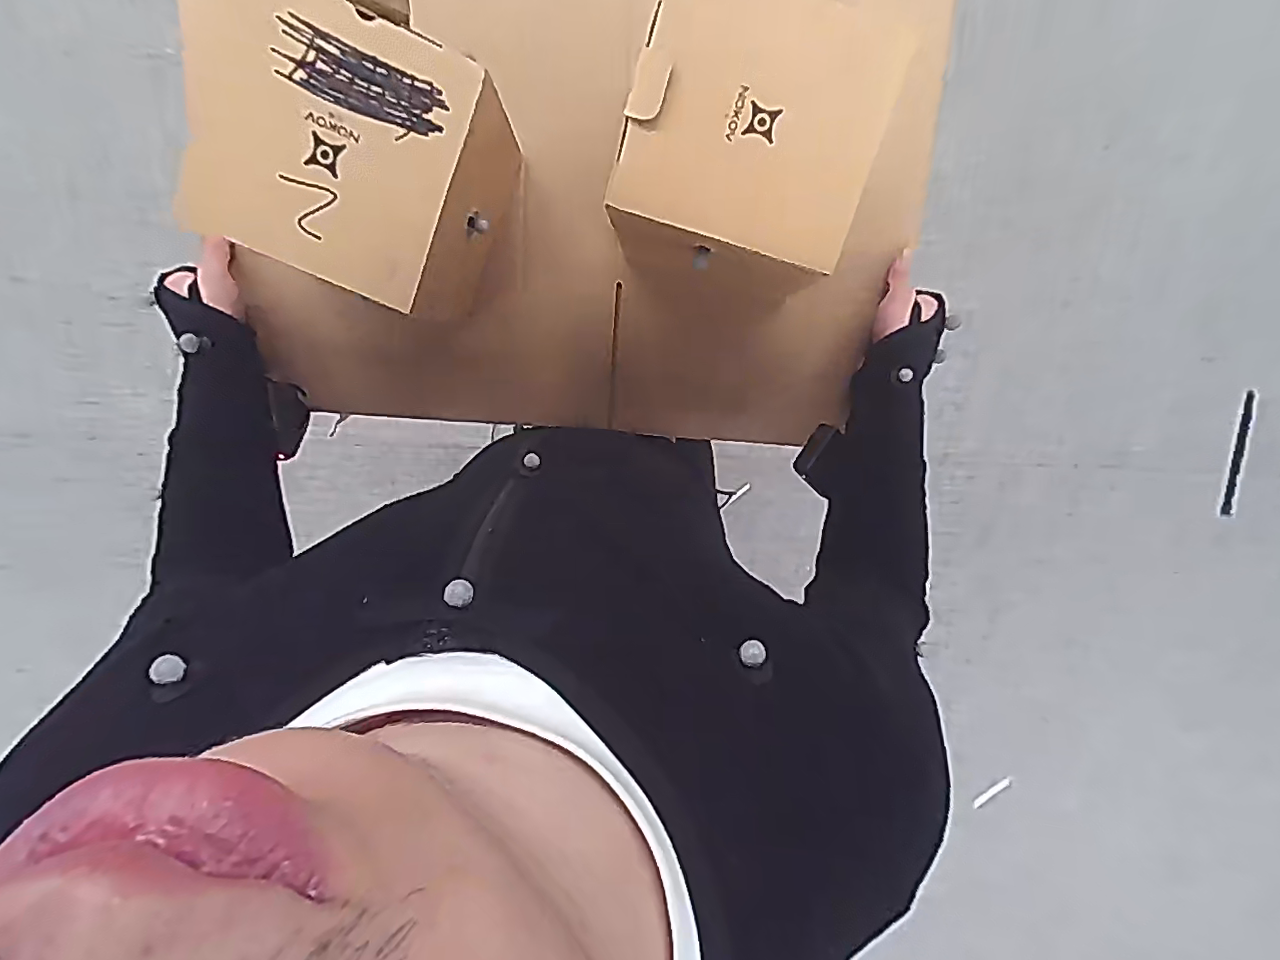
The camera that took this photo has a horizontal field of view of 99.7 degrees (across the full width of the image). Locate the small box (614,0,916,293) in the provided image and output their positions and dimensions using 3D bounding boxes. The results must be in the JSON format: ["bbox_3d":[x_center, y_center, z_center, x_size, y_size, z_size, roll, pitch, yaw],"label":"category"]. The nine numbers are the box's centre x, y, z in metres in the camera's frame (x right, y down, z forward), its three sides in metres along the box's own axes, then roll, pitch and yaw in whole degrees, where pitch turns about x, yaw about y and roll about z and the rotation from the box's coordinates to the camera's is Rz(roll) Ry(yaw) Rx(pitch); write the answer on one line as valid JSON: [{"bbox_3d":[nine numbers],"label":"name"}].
[{"bbox_3d":[0.091,-0.271,0.467,0.179,0.176,0.168,17,102,1],"label":"small box"}]
